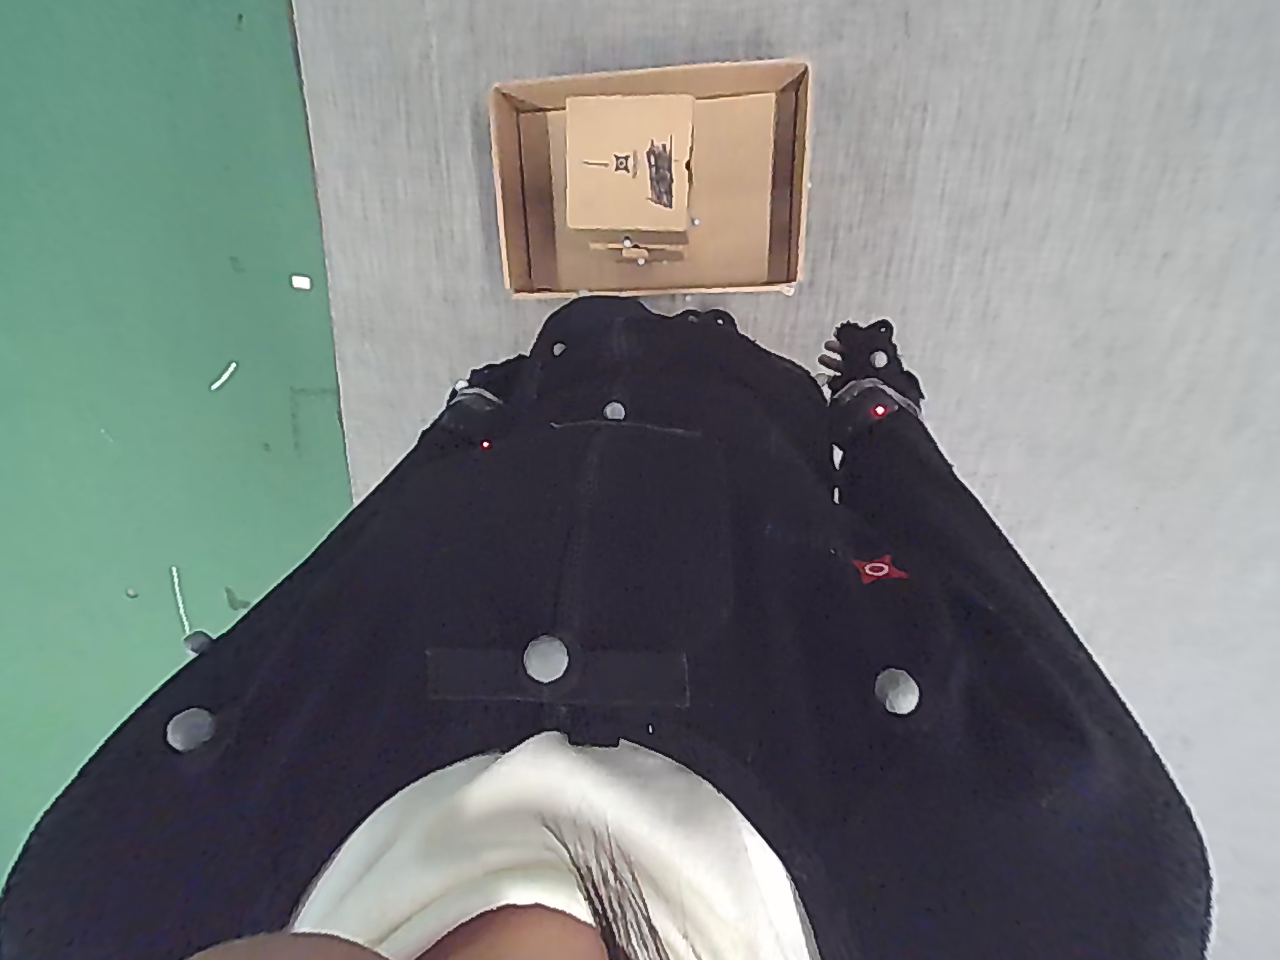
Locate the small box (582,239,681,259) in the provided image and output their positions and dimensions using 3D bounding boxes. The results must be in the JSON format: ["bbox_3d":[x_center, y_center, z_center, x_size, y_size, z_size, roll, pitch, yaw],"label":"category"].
[{"bbox_3d":[-0.007,-0.501,0.980,0.168,0.176,0.179,4,108,5],"label":"small box"}]

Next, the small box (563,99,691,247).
[{"bbox_3d":[-0.014,-0.461,0.837,0.179,0.176,0.168,5,106,5],"label":"small box"}]
